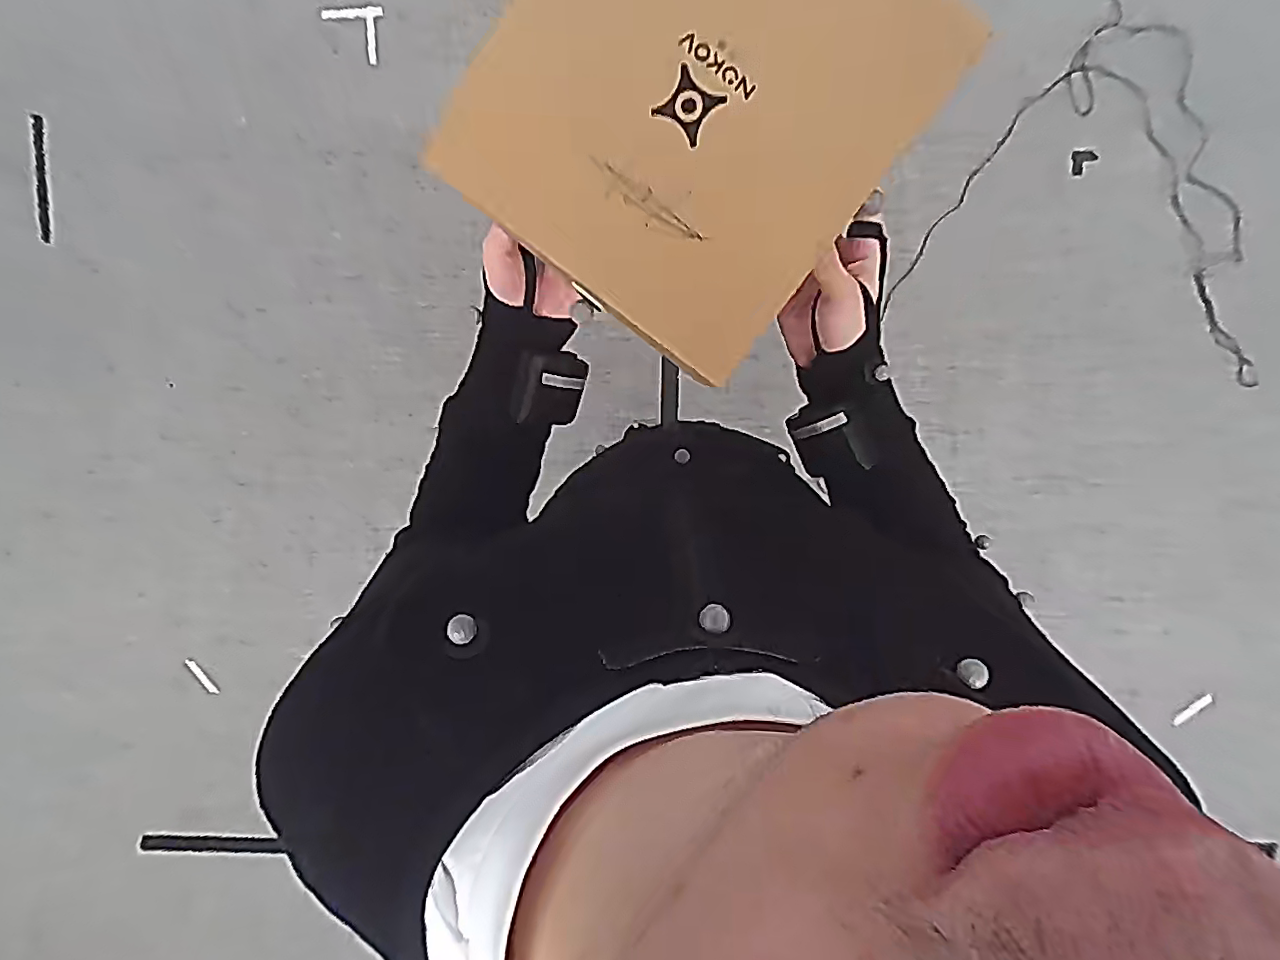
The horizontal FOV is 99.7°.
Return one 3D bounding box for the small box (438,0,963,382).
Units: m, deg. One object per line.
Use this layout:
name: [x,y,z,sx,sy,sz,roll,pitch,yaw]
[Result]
small box: [0.025,-0.177,0.312,0.168,0.176,0.179,35,102,-3]
